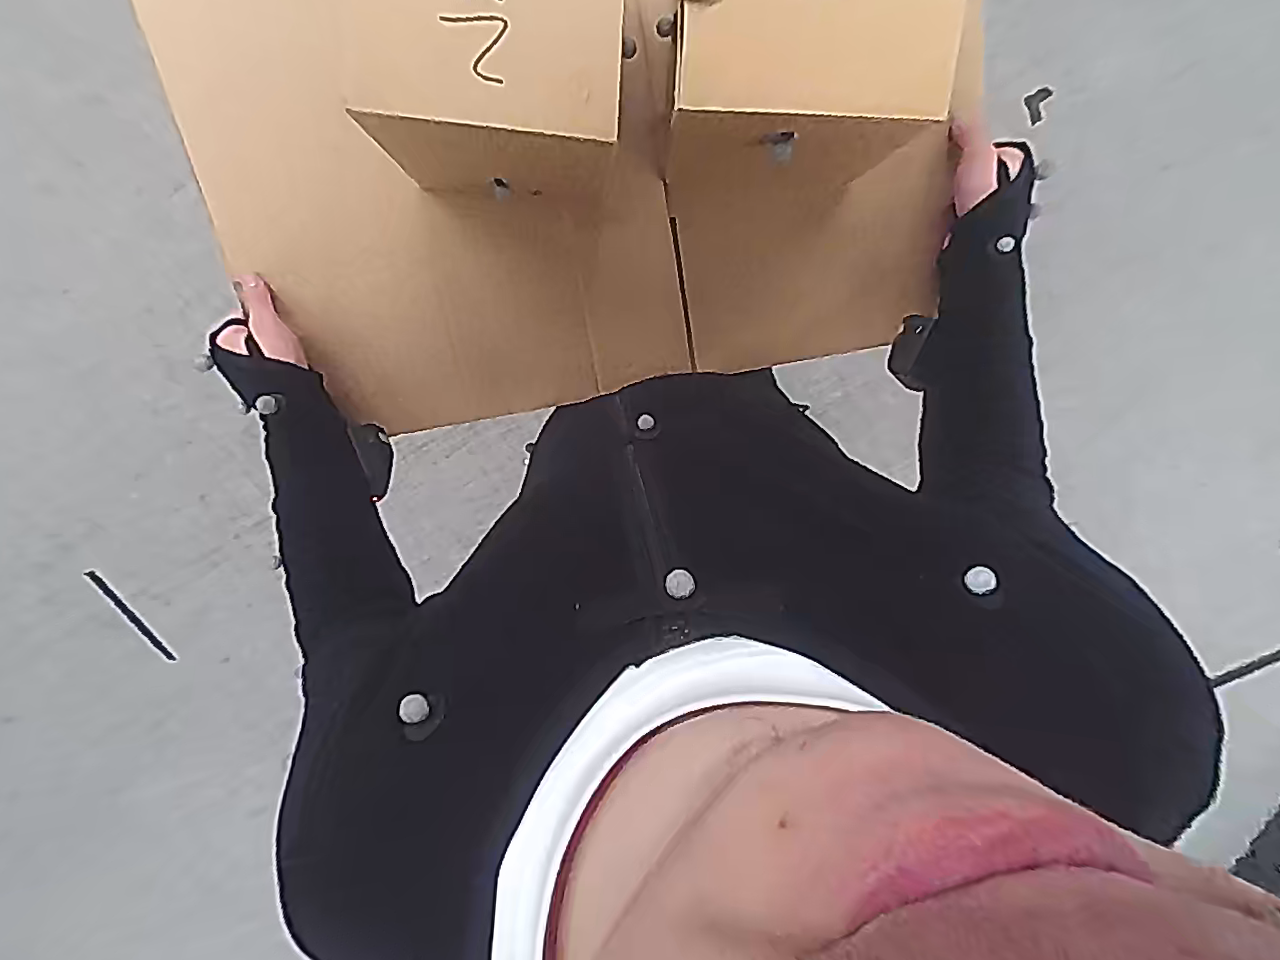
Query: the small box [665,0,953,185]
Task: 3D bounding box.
[{"bbox_3d":[0.113,-0.339,0.415,0.179,0.176,0.168,2,106,1],"label":"small box"}]
